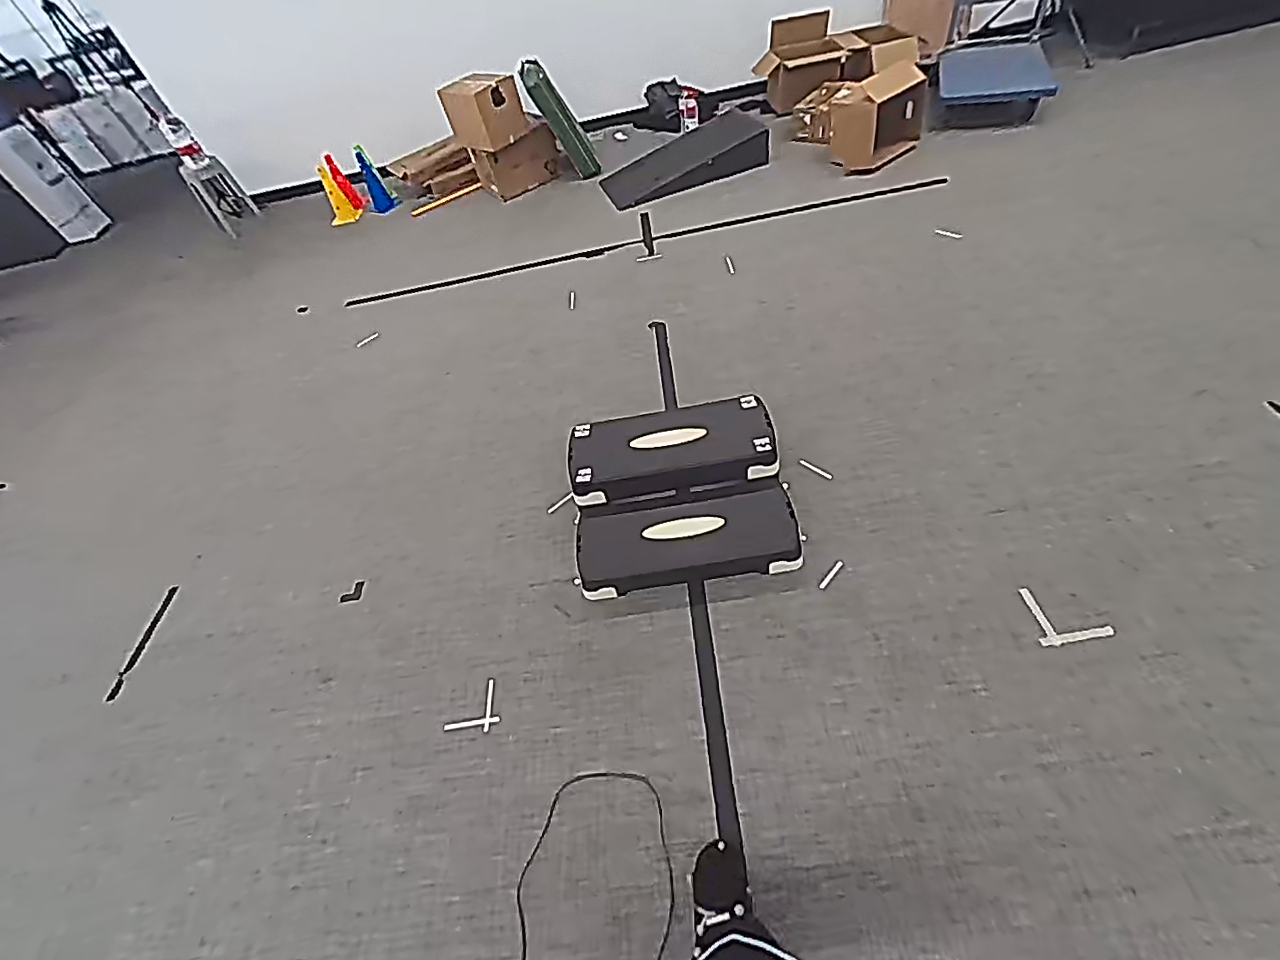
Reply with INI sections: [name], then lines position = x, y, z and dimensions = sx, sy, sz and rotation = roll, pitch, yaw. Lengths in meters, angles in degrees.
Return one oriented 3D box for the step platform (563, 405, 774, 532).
[step platform]
position = 0.090, -0.043, 1.789
dimensions = 0.684, 0.204, 0.286
rotation = -10, 50, 3
